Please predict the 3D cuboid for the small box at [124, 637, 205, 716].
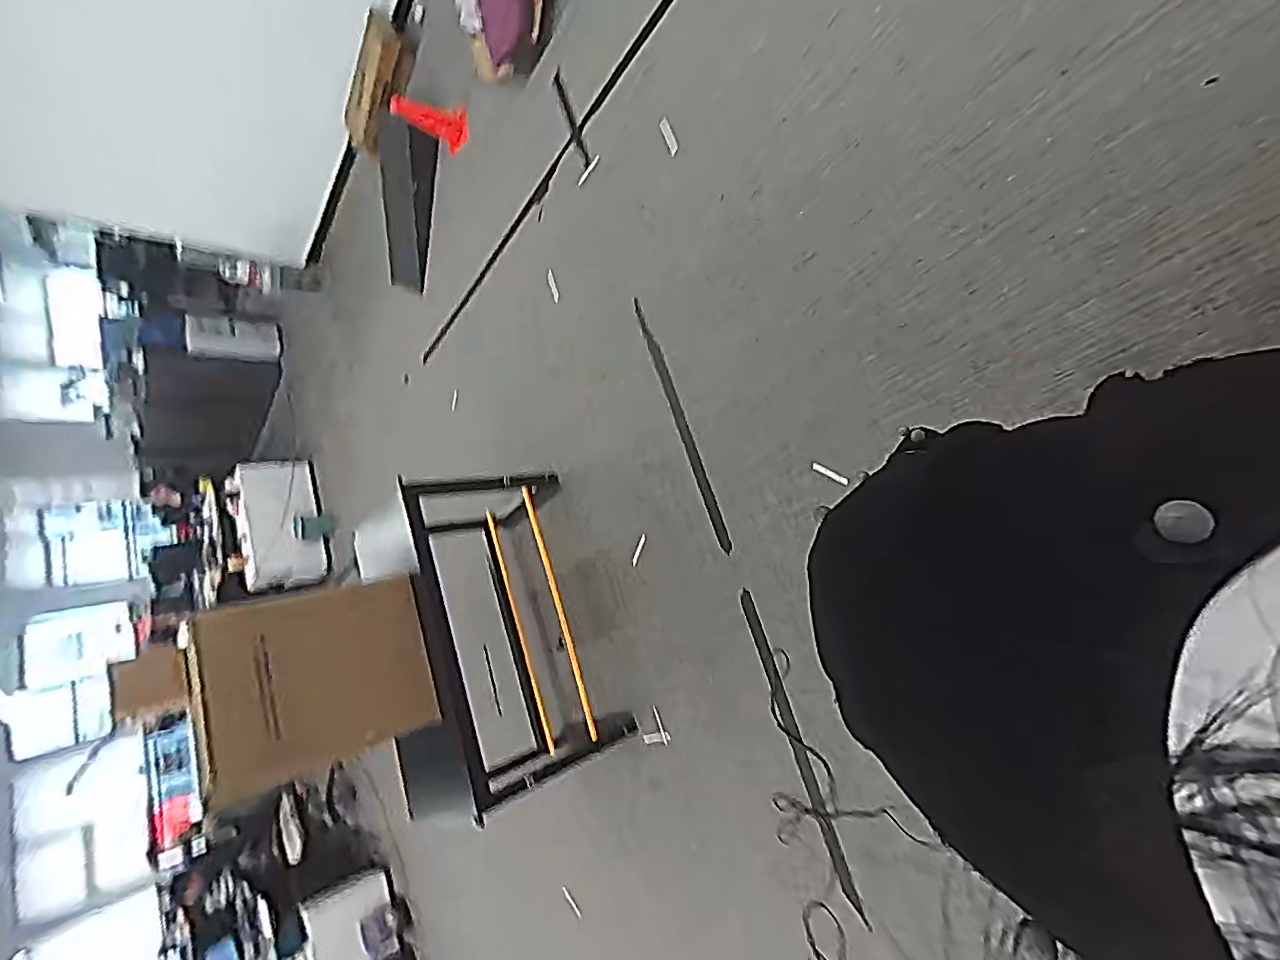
[{"bbox_3d":[-1.412,0.584,1.610,0.179,0.176,0.168,-35,70,42],"label":"small box"}]
